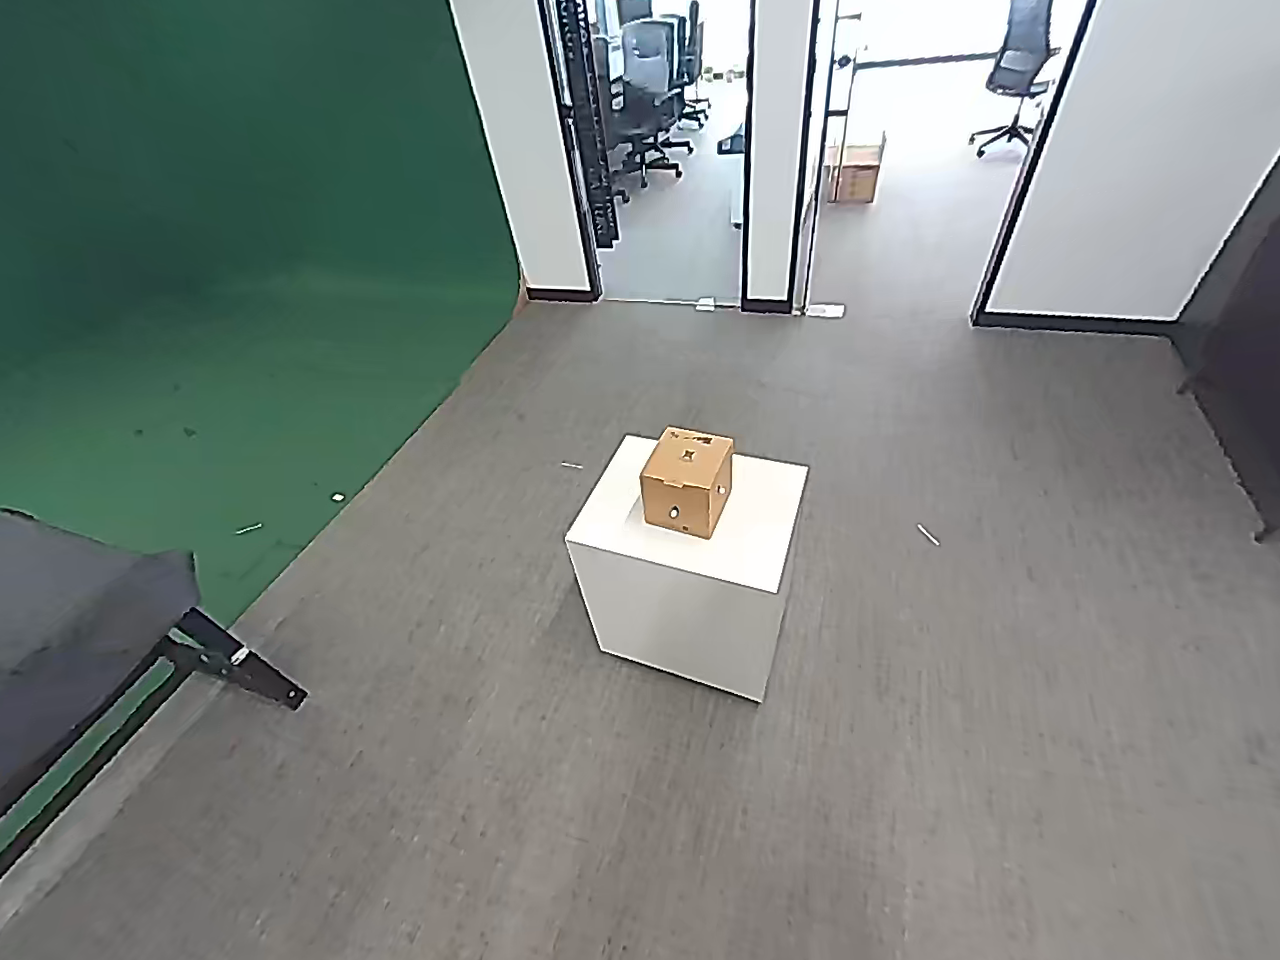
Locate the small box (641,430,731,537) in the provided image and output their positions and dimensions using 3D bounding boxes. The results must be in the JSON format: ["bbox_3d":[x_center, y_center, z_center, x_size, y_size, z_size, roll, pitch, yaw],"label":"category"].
[{"bbox_3d":[0.115,0.009,1.277,0.168,0.176,0.179,12,47,19],"label":"small box"}]
